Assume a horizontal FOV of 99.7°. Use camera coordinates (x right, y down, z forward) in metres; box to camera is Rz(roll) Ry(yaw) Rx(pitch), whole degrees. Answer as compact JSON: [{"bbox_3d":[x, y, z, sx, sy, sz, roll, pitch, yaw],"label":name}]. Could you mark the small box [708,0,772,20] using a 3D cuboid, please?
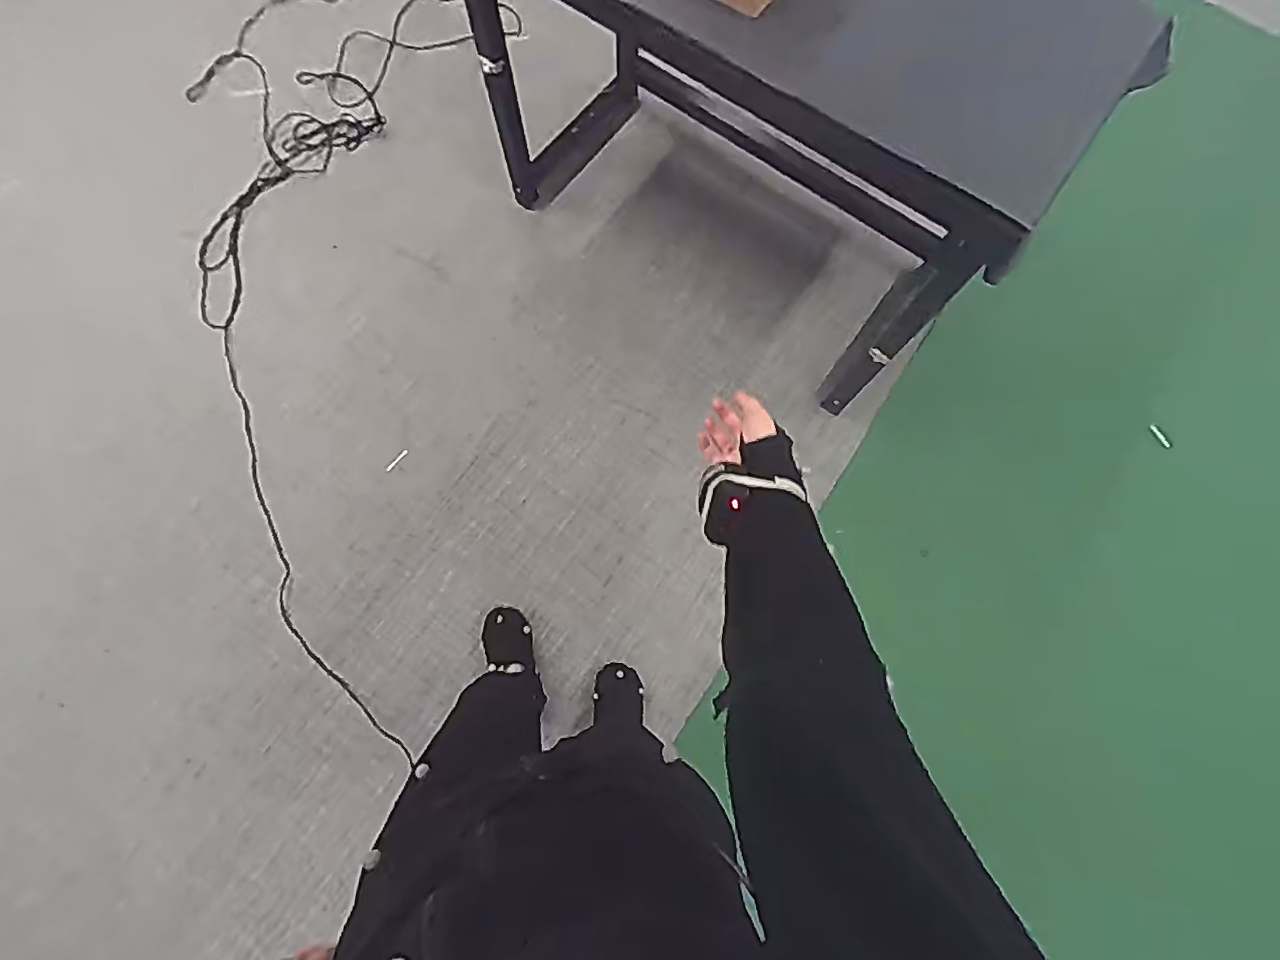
[{"bbox_3d":[0.174,-0.902,0.864,0.168,0.176,0.179,33,75,8],"label":"small box"}]
